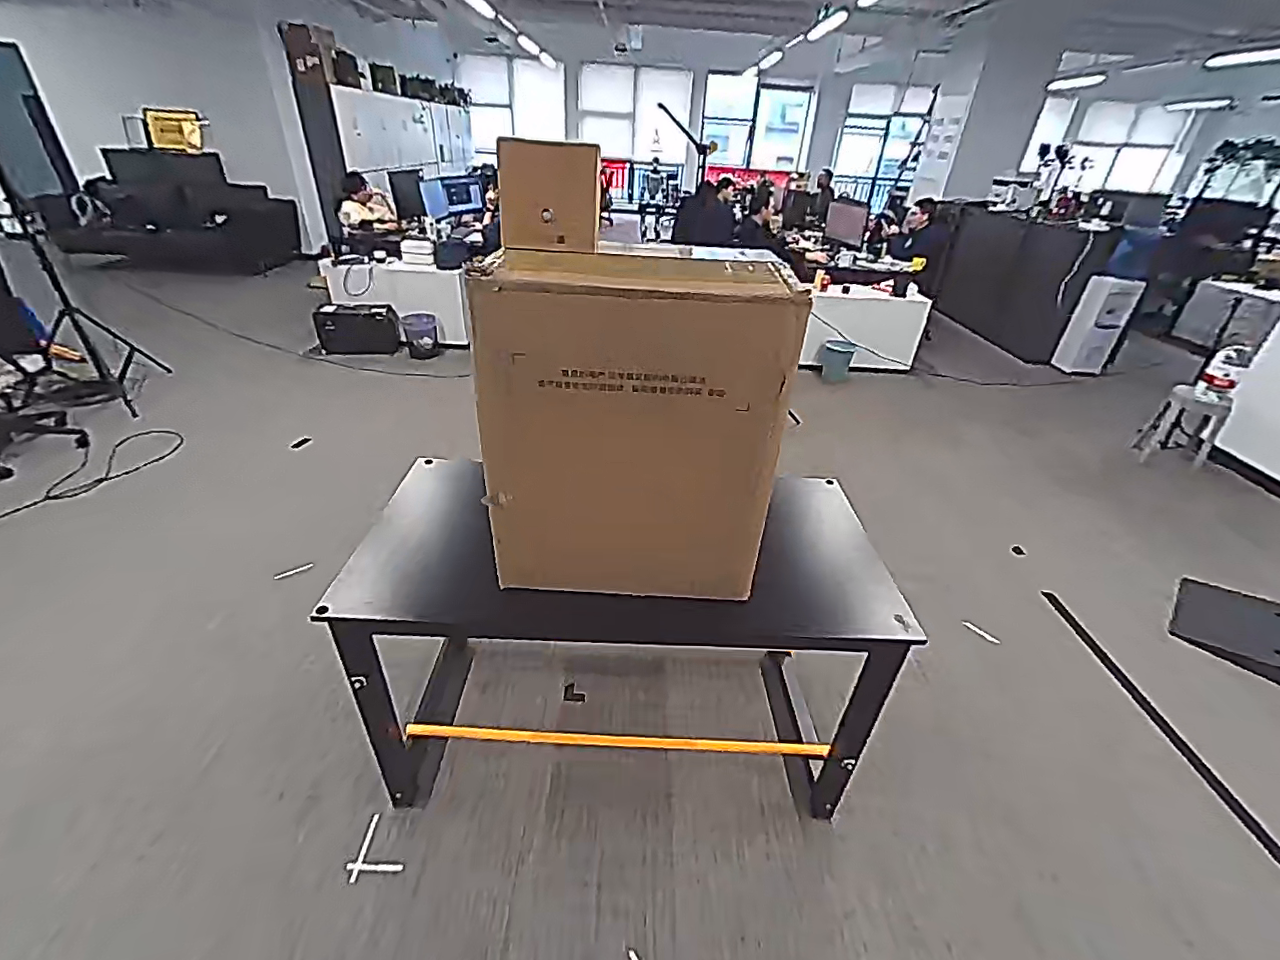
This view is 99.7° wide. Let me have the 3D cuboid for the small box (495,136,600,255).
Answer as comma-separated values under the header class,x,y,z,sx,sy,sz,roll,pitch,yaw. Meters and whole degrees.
class,x,y,z,sx,sy,sz,roll,pitch,yaw
small box,-0.161,-0.514,0.981,0.168,0.176,0.179,2,30,-3
